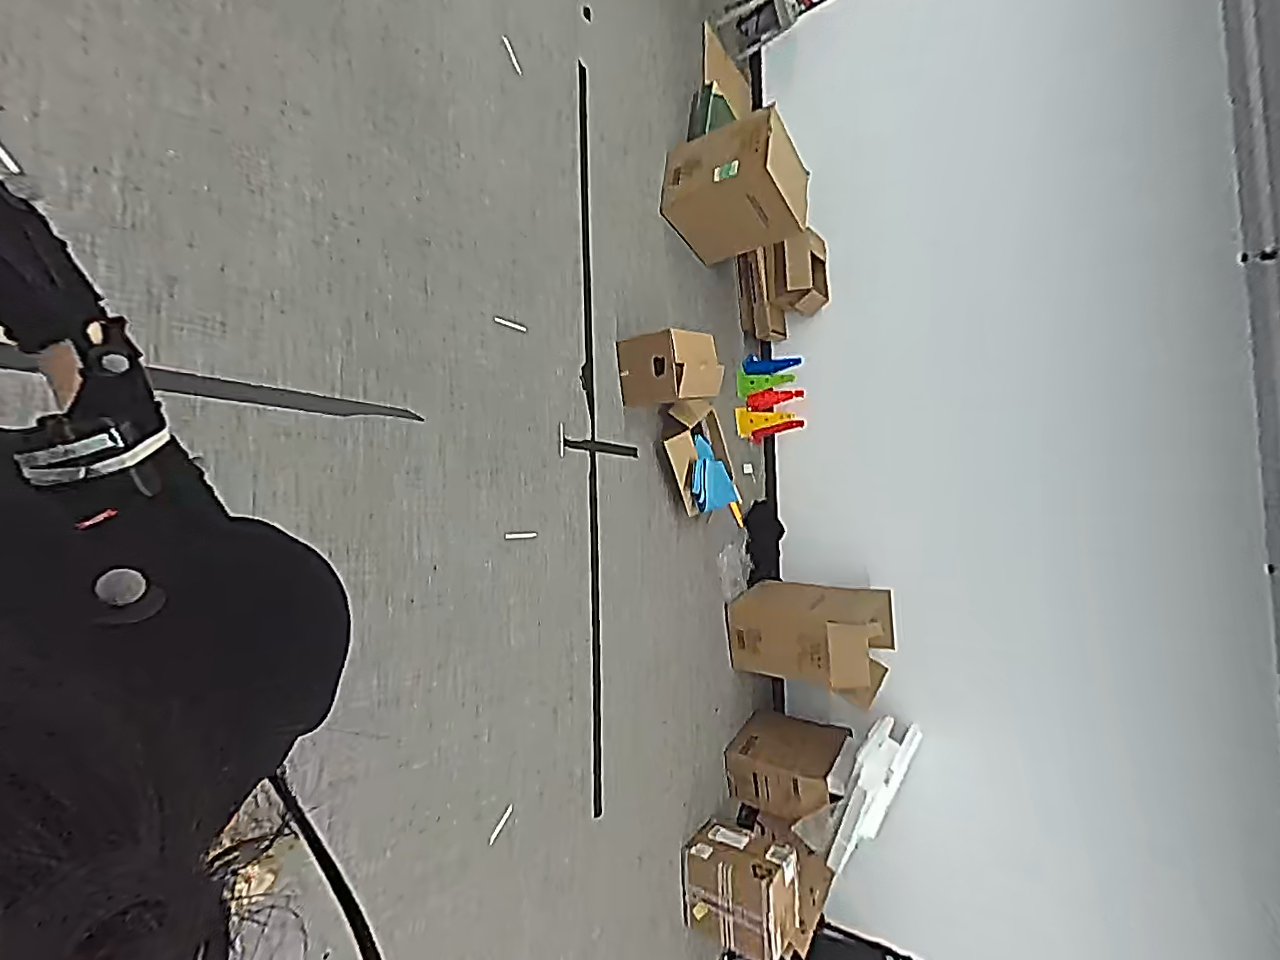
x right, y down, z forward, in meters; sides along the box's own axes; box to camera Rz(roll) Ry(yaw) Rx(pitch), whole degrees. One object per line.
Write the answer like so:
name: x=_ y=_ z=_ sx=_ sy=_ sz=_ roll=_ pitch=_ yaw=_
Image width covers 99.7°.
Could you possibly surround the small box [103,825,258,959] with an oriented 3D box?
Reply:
small box: x=-0.967 y=0.873 z=1.134 sx=0.179 sy=0.176 sz=0.168 roll=-52 pitch=129 yaw=-45
